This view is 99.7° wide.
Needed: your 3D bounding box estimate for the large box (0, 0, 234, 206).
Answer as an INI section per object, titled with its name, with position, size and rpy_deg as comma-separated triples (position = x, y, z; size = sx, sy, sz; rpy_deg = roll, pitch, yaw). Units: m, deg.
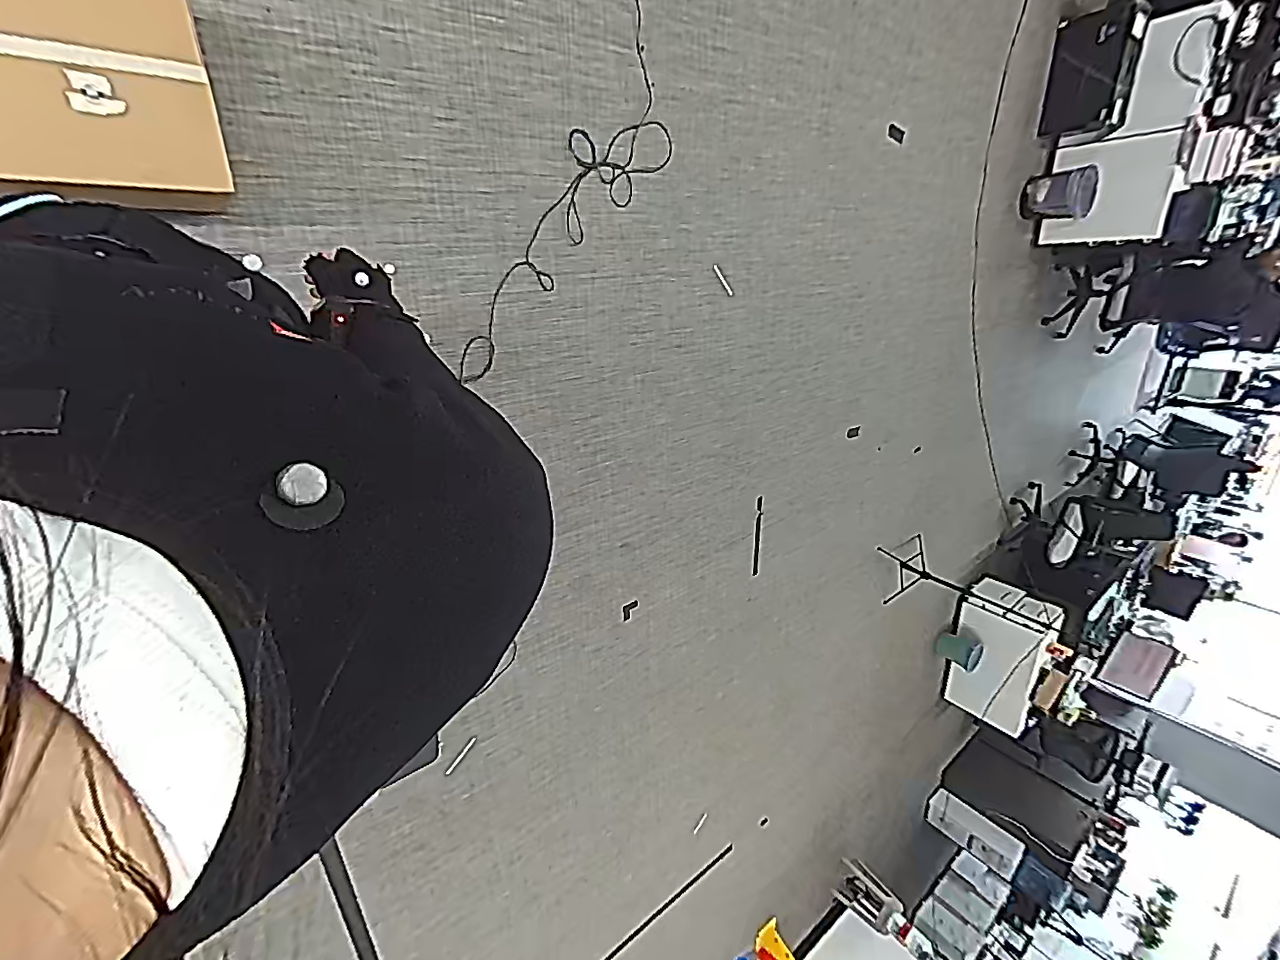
[large box]
position = -0.901, -0.604, 0.809
size = 0.408, 0.320, 0.320
rpy_deg = -16, 116, -35
